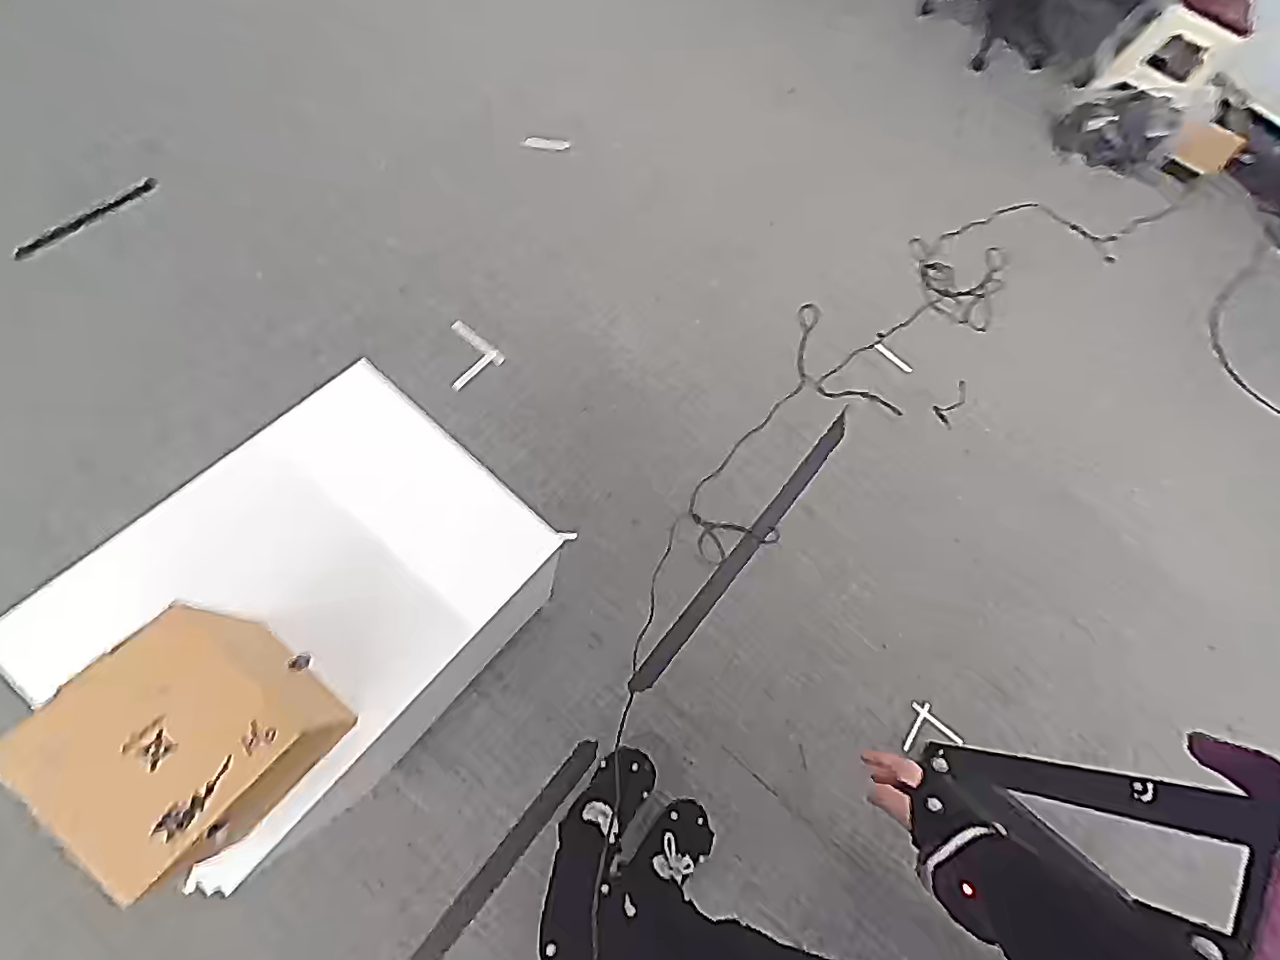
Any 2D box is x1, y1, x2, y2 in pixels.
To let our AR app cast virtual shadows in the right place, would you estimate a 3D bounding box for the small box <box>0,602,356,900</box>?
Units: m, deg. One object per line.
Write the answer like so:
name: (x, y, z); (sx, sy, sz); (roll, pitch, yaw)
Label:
small box: (-0.424, 0.250, 0.532); (0.179, 0.176, 0.168); (40, 68, 6)
